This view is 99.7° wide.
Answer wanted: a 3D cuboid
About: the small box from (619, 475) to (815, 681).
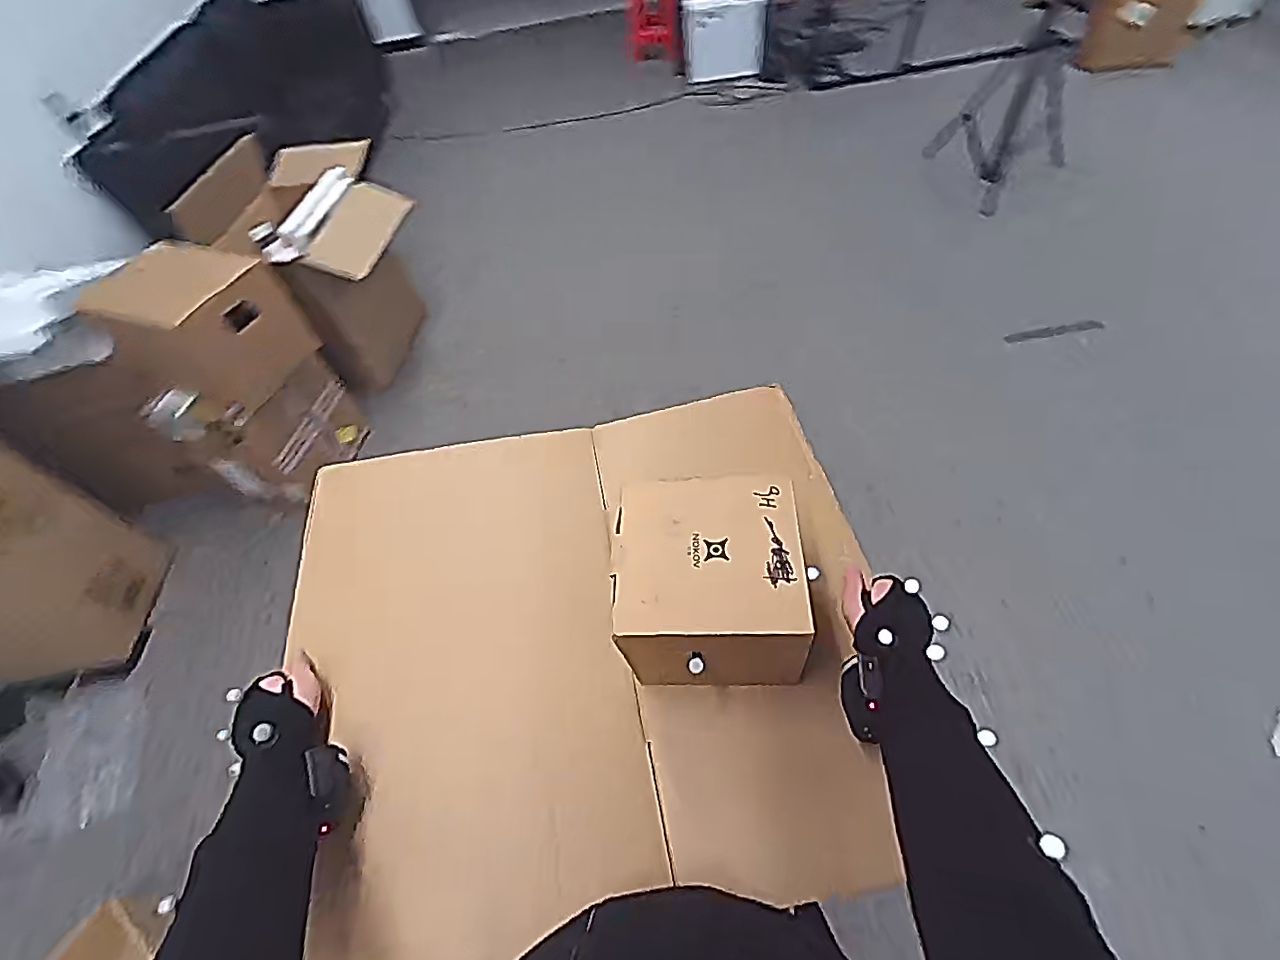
[{"bbox_3d":[0.085,0.112,0.582,0.179,0.176,0.168,-3,56,10],"label":"small box"}]
